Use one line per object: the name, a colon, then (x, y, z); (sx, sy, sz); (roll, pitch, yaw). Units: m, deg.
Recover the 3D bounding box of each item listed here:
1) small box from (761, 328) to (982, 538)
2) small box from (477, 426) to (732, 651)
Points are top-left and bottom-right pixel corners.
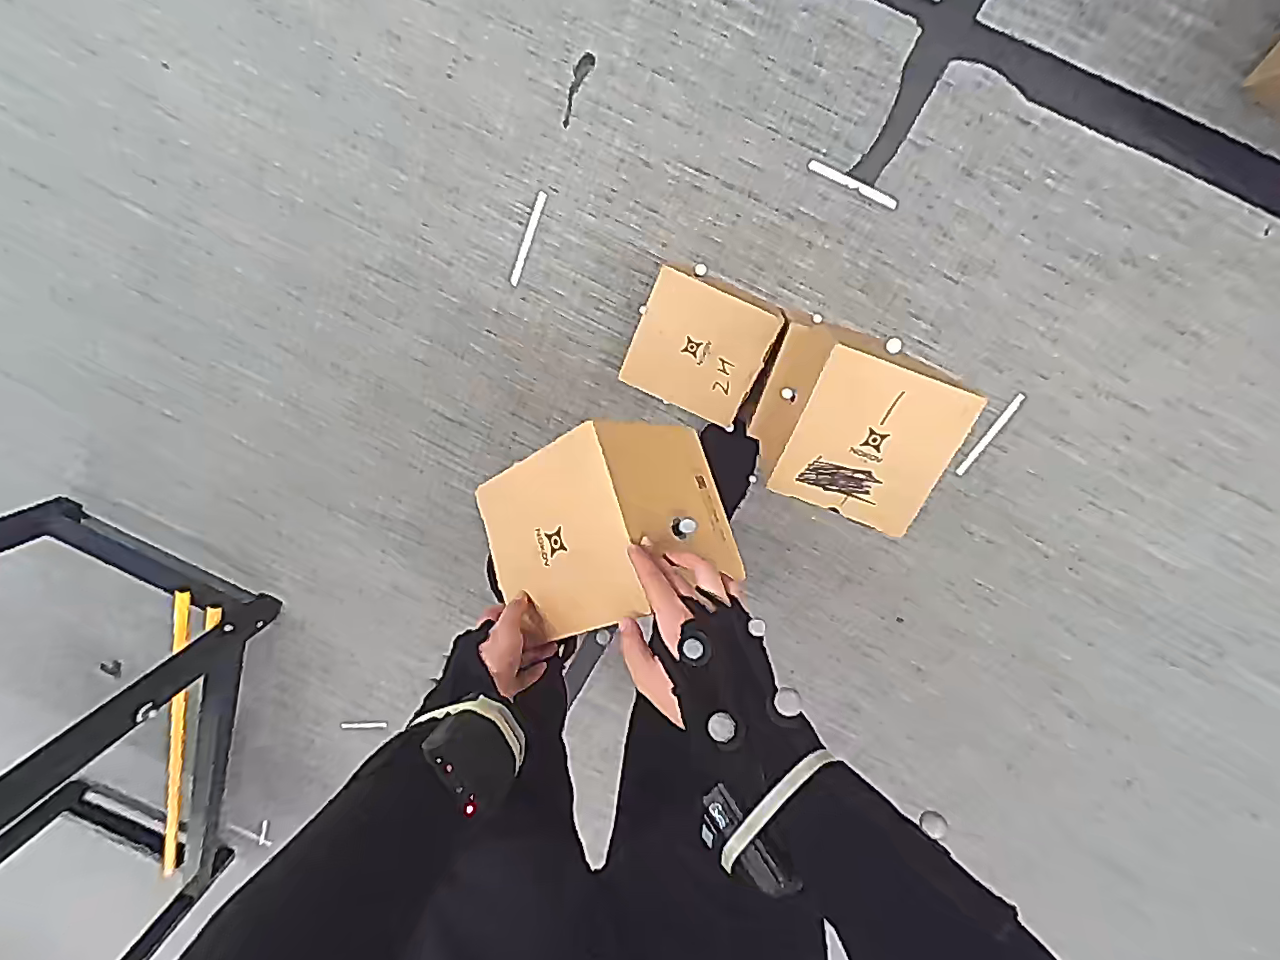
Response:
small box: (0.256, -0.065, 0.650); (0.168, 0.176, 0.179); (21, 114, 1)
small box: (-0.027, 0.055, 0.542); (0.179, 0.176, 0.168); (-26, 76, 36)
